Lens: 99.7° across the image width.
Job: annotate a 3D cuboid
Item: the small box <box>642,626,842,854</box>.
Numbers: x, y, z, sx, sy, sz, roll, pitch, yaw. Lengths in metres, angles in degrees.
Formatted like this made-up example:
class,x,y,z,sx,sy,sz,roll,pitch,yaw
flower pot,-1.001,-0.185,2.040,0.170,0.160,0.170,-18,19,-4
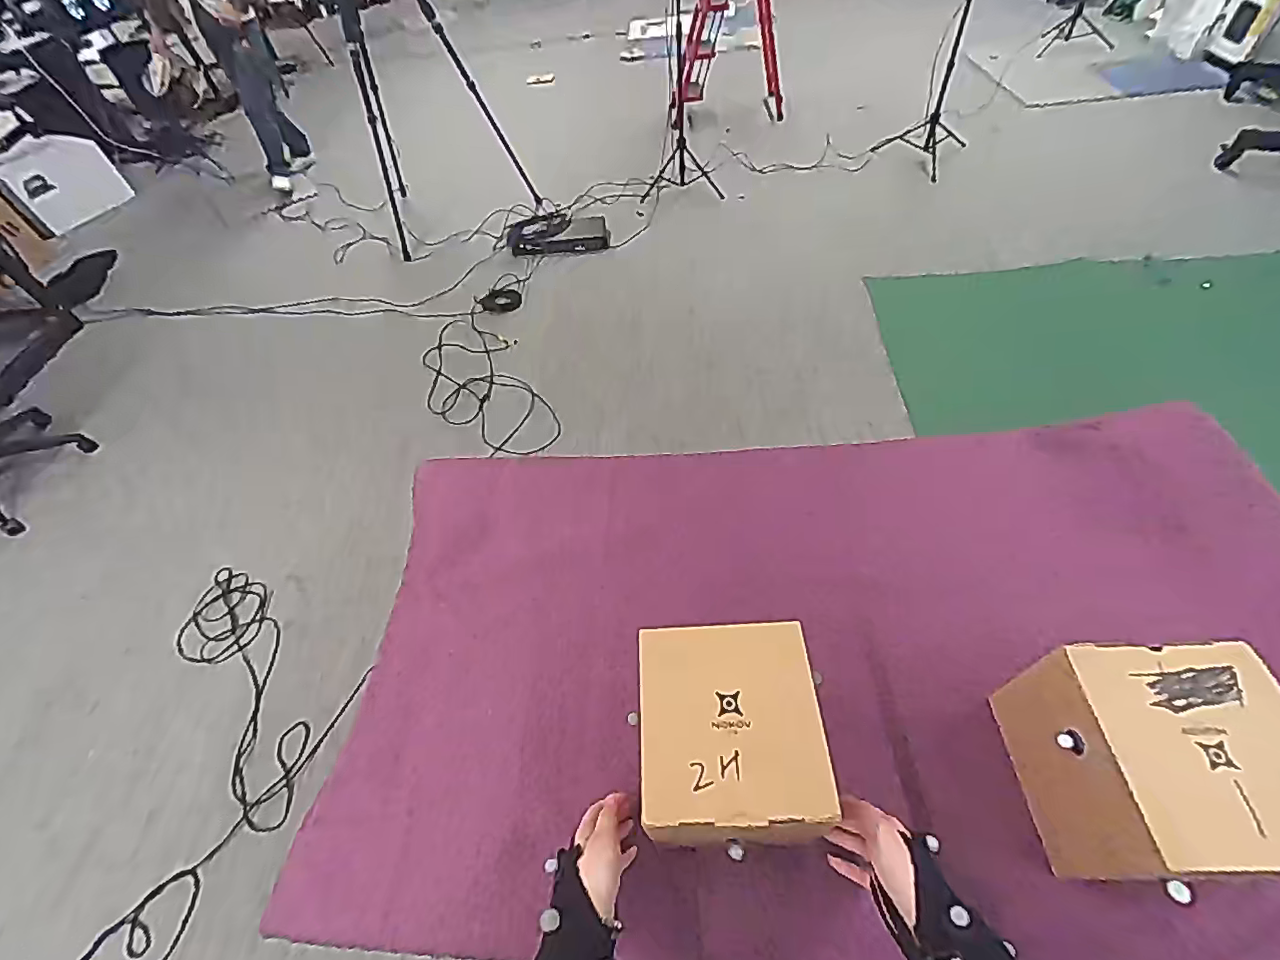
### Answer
class,x,y,z,sx,sy,sz,roll,pitch,yaw
small box,0.089,0.269,0.557,0.168,0.176,0.179,-4,50,4

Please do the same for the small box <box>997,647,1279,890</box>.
class,x,y,z,sx,sy,sz,roll,pitch,yaw
small box,0.482,0.275,0.513,0.168,0.176,0.179,-3,52,4
